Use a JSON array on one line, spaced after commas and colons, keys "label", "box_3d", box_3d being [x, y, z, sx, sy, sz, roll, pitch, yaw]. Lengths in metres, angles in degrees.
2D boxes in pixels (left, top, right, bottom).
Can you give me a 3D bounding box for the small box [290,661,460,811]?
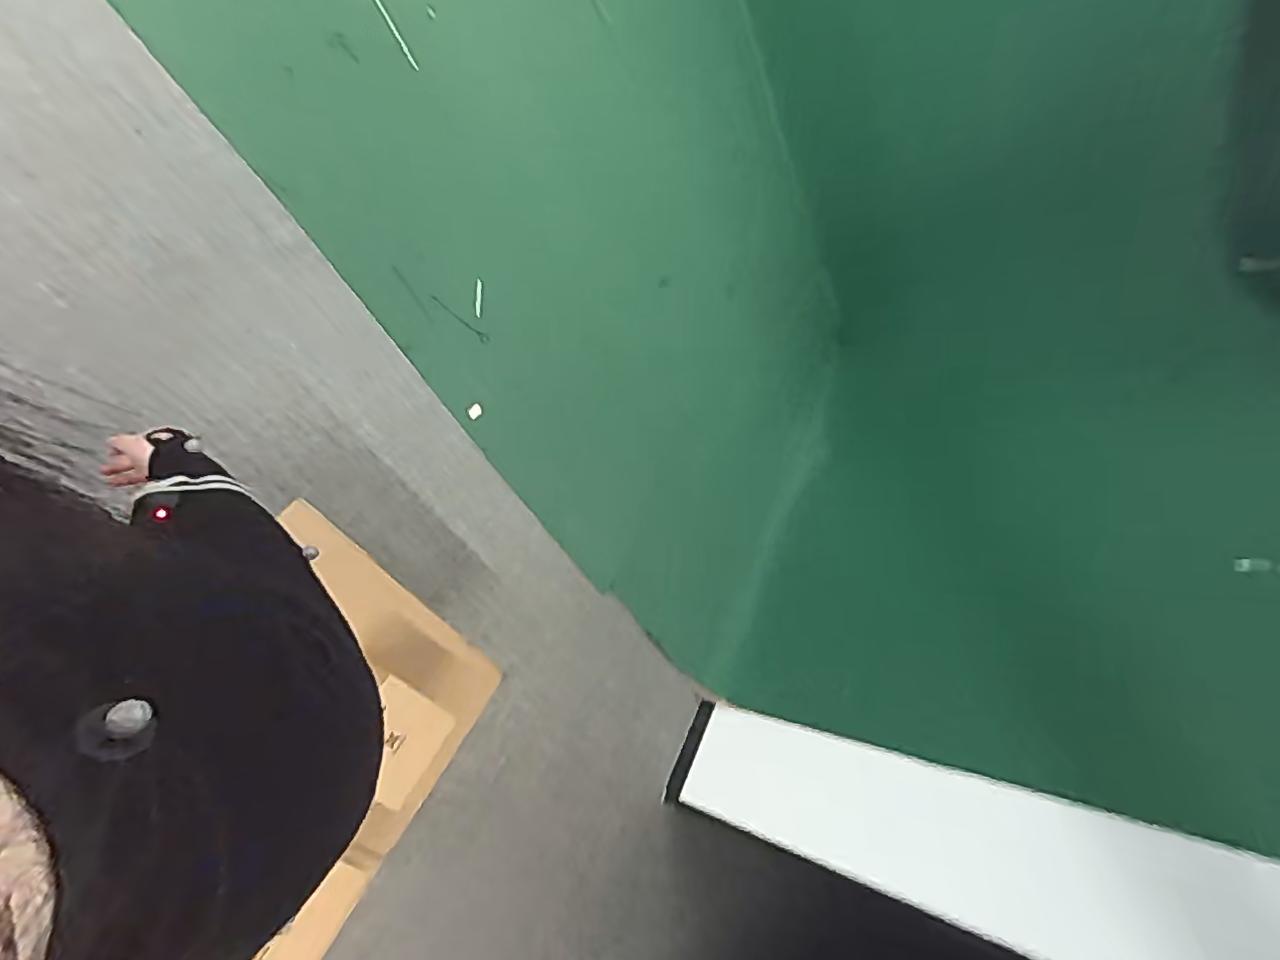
[{"label": "small box", "box_3d": [-0.468, 0.444, 0.960, 0.179, 0.176, 0.168, 56, 49, -33]}]
